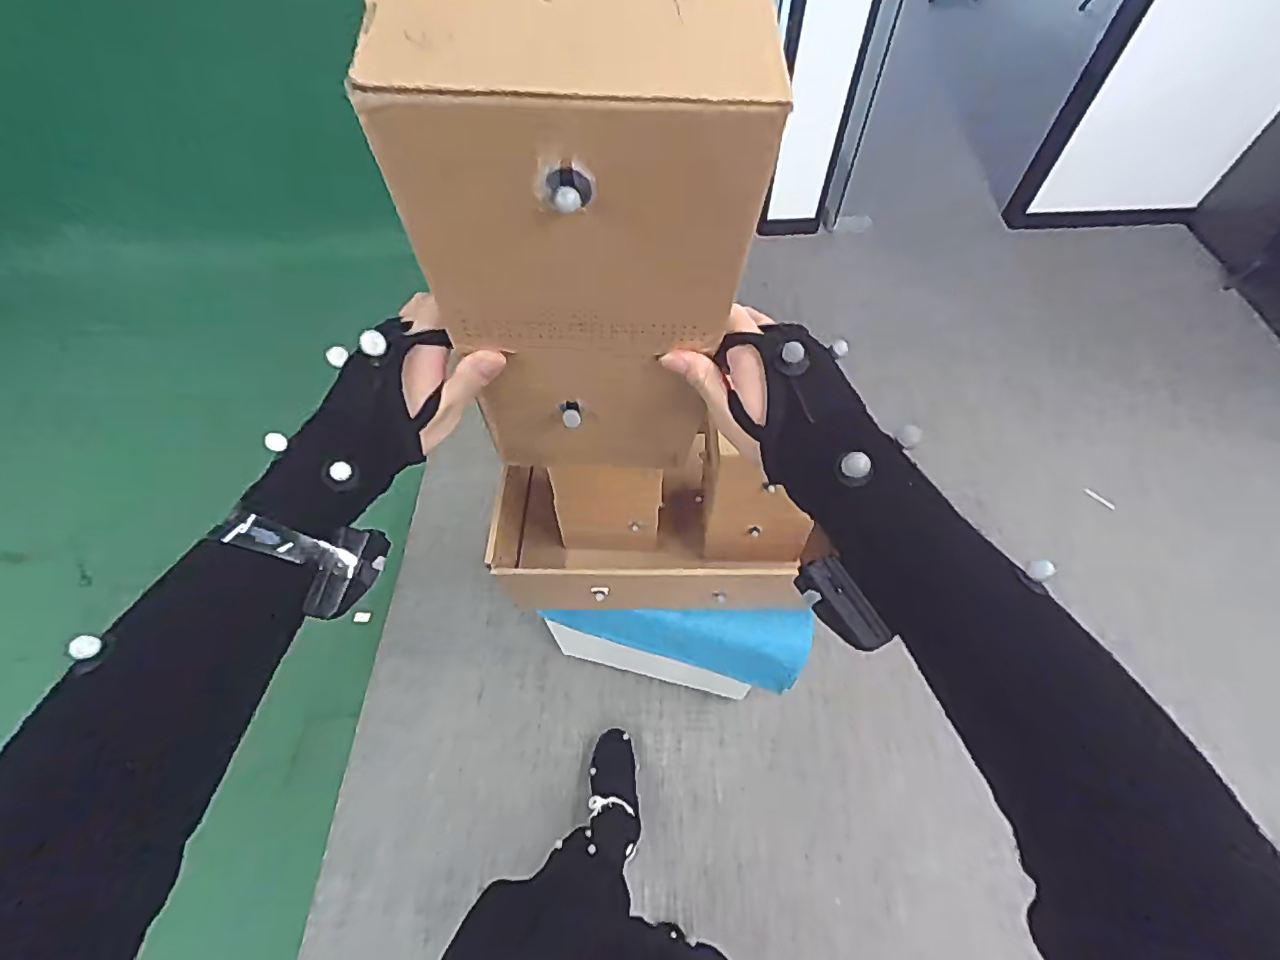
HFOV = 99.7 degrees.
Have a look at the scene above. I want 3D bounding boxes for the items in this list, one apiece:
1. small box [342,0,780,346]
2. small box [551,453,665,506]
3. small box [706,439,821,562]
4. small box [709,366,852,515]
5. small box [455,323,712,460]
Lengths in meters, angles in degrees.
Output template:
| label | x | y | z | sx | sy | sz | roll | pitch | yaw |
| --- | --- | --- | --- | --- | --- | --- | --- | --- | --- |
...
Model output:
| label | x | y | z | sx | sy | sz | roll | pitch | yaw |
| --- | --- | --- | --- | --- | --- | --- | --- | --- | --- |
| small box | -0.032 | -0.195 | 0.317 | 0.179 | 0.176 | 0.168 | 1 | 65 | -2 |
| small box | -0.047 | -0.070 | 0.855 | 0.179 | 0.176 | 0.168 | 2 | 56 | 0 |
| small box | 0.208 | 0.037 | 0.967 | 0.179 | 0.176 | 0.168 | 0 | 56 | 4 |
| small box | 0.202 | -0.057 | 0.833 | 0.179 | 0.176 | 0.168 | -1 | 55 | 3 |
| small box | -0.038 | -0.126 | 0.466 | 0.179 | 0.176 | 0.168 | 1 | 65 | -1 |
